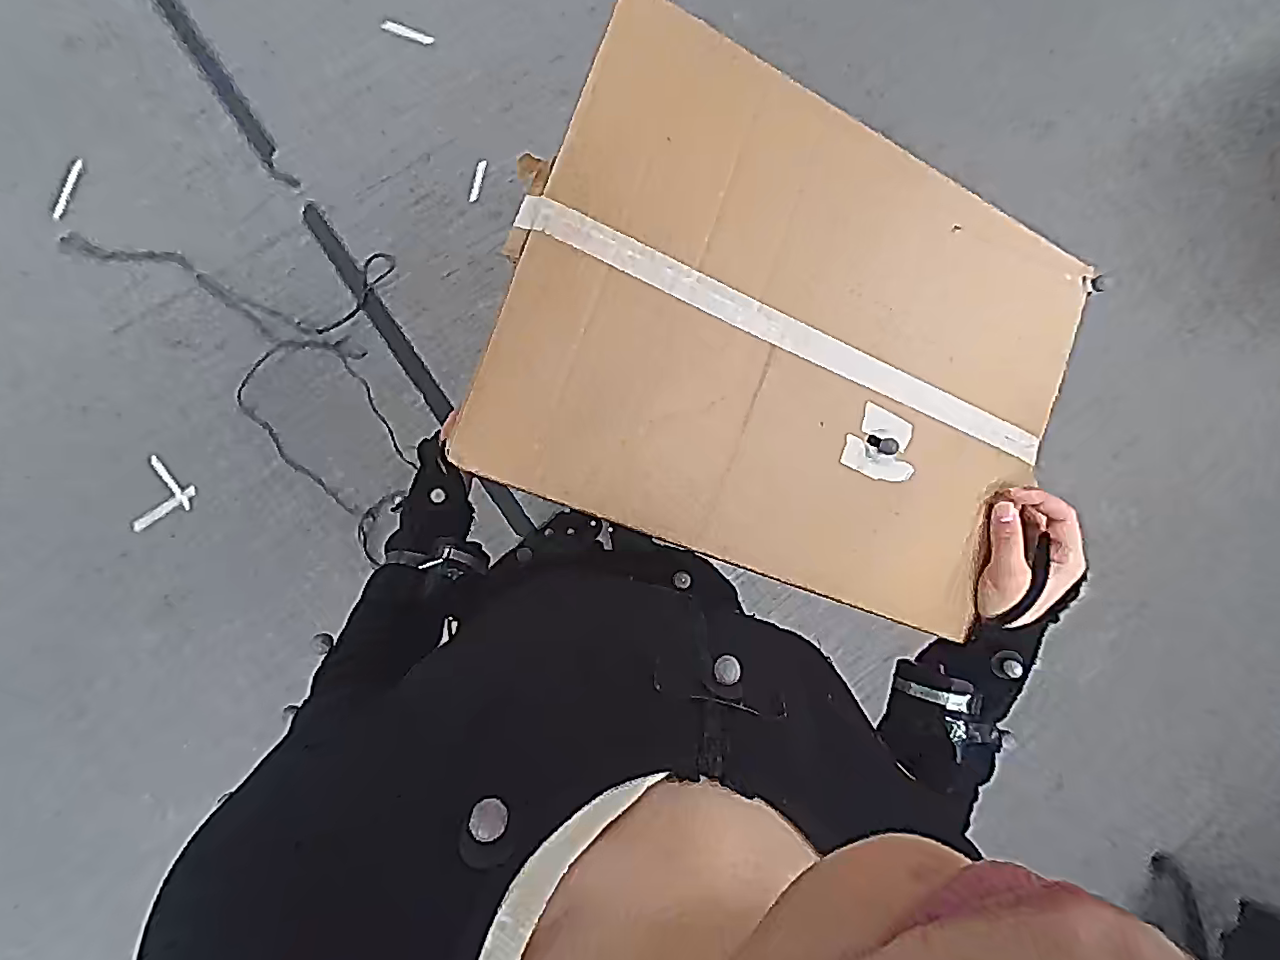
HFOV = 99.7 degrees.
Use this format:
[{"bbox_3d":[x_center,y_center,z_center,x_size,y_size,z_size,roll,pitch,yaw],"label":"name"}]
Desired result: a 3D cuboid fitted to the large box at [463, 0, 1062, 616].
[{"bbox_3d":[0.077,-0.101,0.520,0.408,0.320,0.320,19,88,-16],"label":"large box"}]
